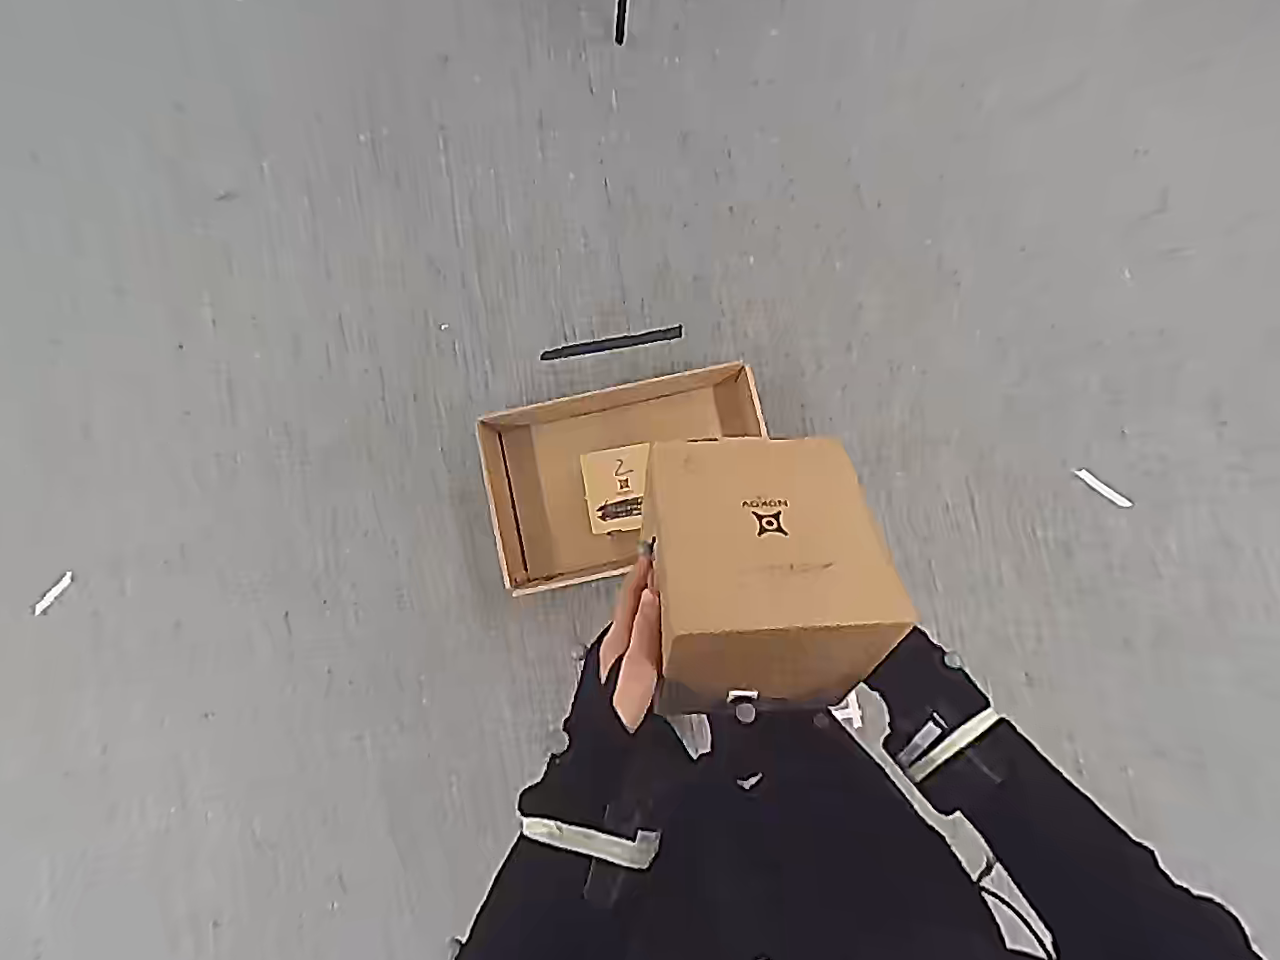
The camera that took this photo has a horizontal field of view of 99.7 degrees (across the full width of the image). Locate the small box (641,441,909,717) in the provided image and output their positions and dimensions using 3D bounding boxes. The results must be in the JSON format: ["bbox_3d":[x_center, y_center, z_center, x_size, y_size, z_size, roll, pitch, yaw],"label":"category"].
[{"bbox_3d":[0.091,0.085,0.472,0.168,0.176,0.179,-3,48,-5],"label":"small box"}]
